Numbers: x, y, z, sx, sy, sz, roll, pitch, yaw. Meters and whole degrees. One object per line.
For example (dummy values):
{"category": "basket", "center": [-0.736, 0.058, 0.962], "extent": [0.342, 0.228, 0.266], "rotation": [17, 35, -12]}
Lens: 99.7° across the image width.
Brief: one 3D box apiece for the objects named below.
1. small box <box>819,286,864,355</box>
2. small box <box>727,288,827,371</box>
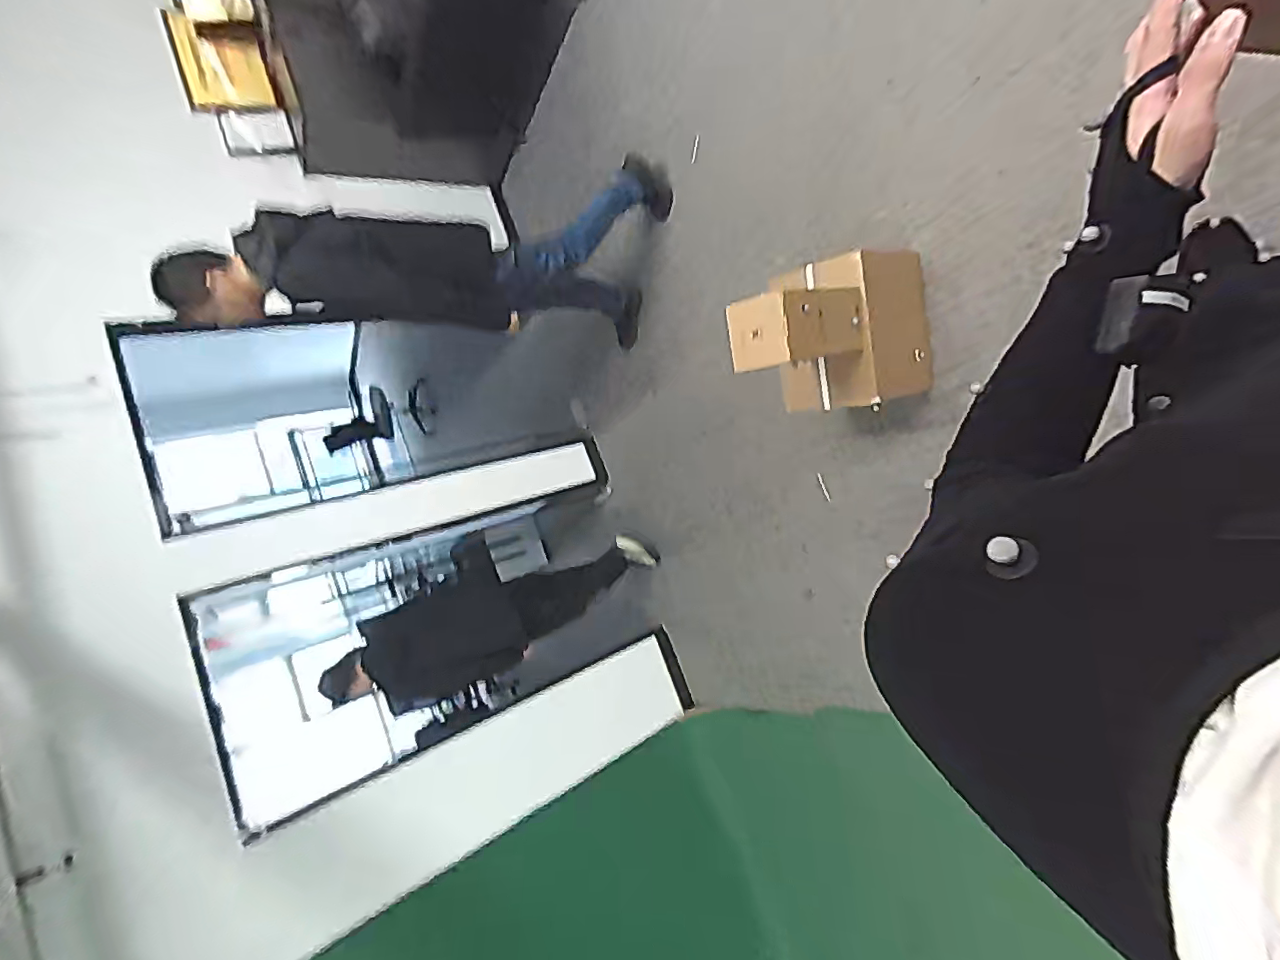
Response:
{"category": "small box", "center": [0.470, -0.416, 1.444], "extent": [0.179, 0.176, 0.168], "rotation": [5, 108, 52]}
{"category": "small box", "center": [0.347, -0.375, 1.346], "extent": [0.179, 0.176, 0.168], "rotation": [2, 105, 54]}
